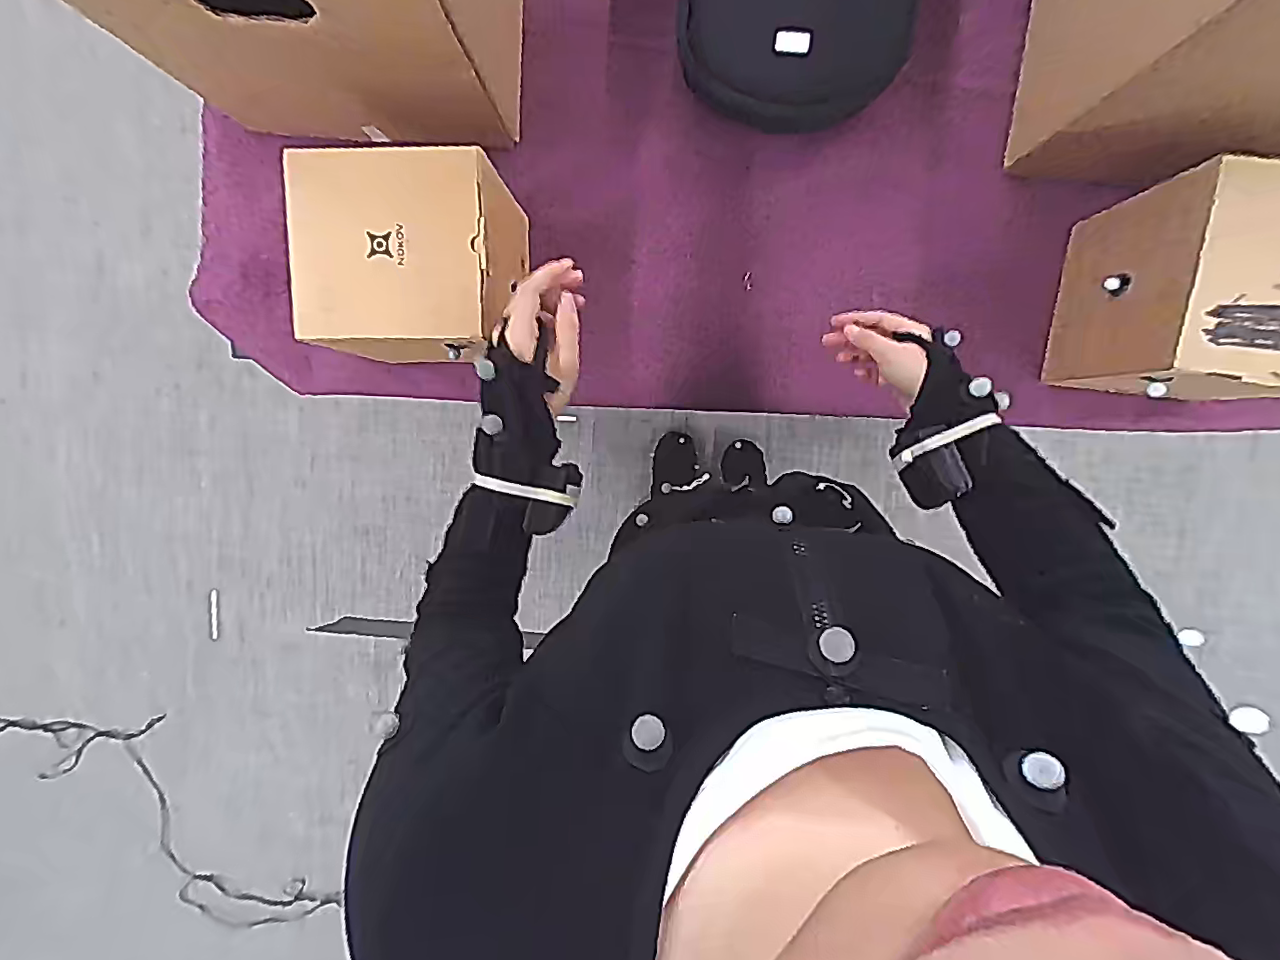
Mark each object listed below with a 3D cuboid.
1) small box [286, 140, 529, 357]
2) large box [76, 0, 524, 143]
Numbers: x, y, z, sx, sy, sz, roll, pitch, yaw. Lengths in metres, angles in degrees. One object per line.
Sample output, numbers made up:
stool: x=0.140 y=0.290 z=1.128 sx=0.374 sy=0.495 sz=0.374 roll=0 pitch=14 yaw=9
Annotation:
small box: x=-0.222 y=-0.221 z=0.558 sx=0.179 sy=0.176 sz=0.168 roll=-1 pitch=96 yaw=2
large box: x=-0.278 y=-0.567 z=0.446 sx=0.320 sy=0.320 sz=0.408 roll=3 pitch=99 yaw=1
